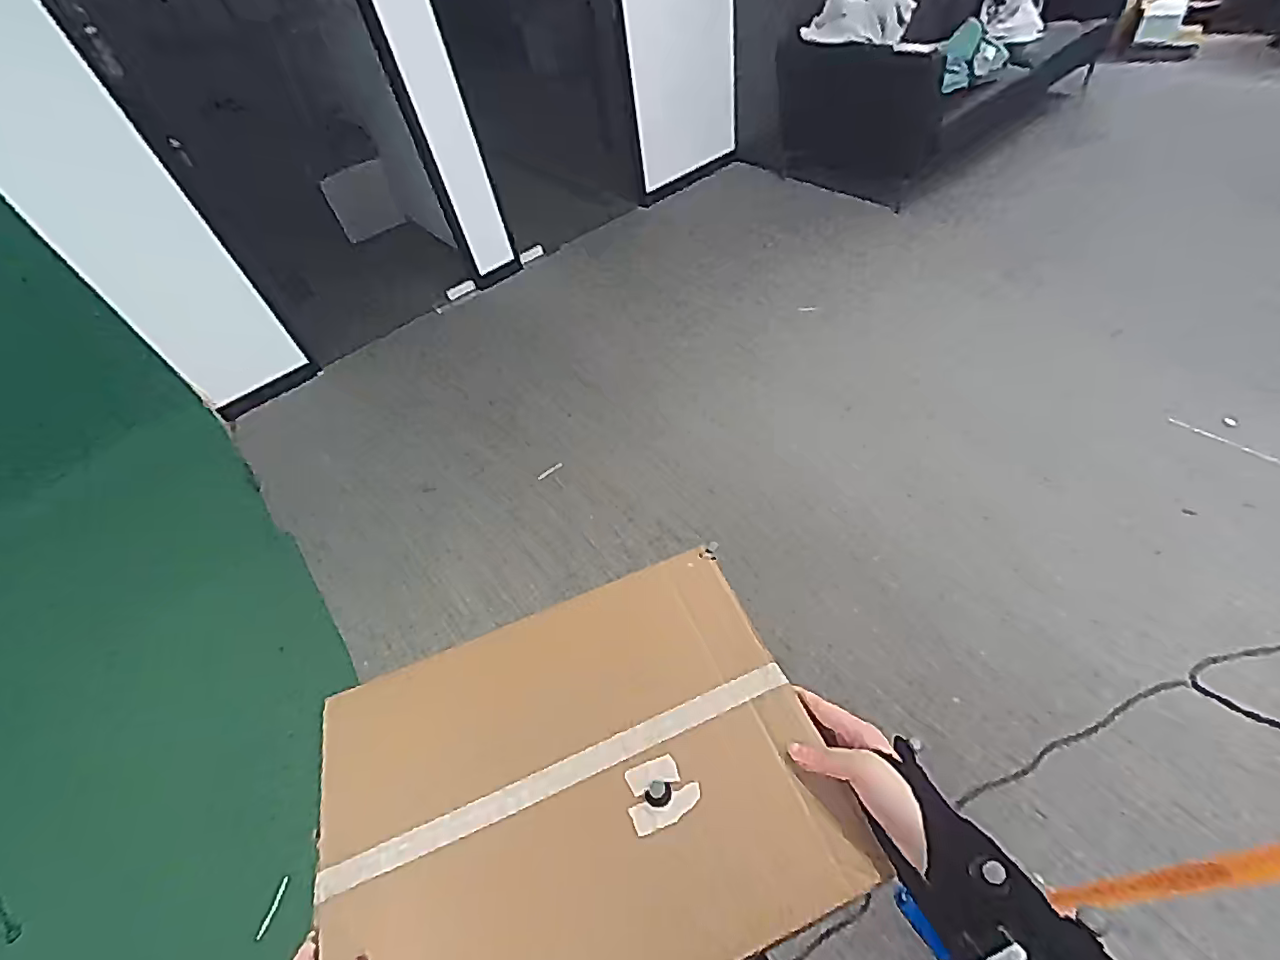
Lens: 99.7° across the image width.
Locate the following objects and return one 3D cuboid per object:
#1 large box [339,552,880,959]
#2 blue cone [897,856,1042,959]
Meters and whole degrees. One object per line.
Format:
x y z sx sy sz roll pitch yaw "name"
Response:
-0.039 0.347 0.571 0.408 0.320 0.320 -20 48 -10 "large box"
0.625 0.785 0.961 0.192 0.380 0.193 -29 50 -14 "blue cone"
